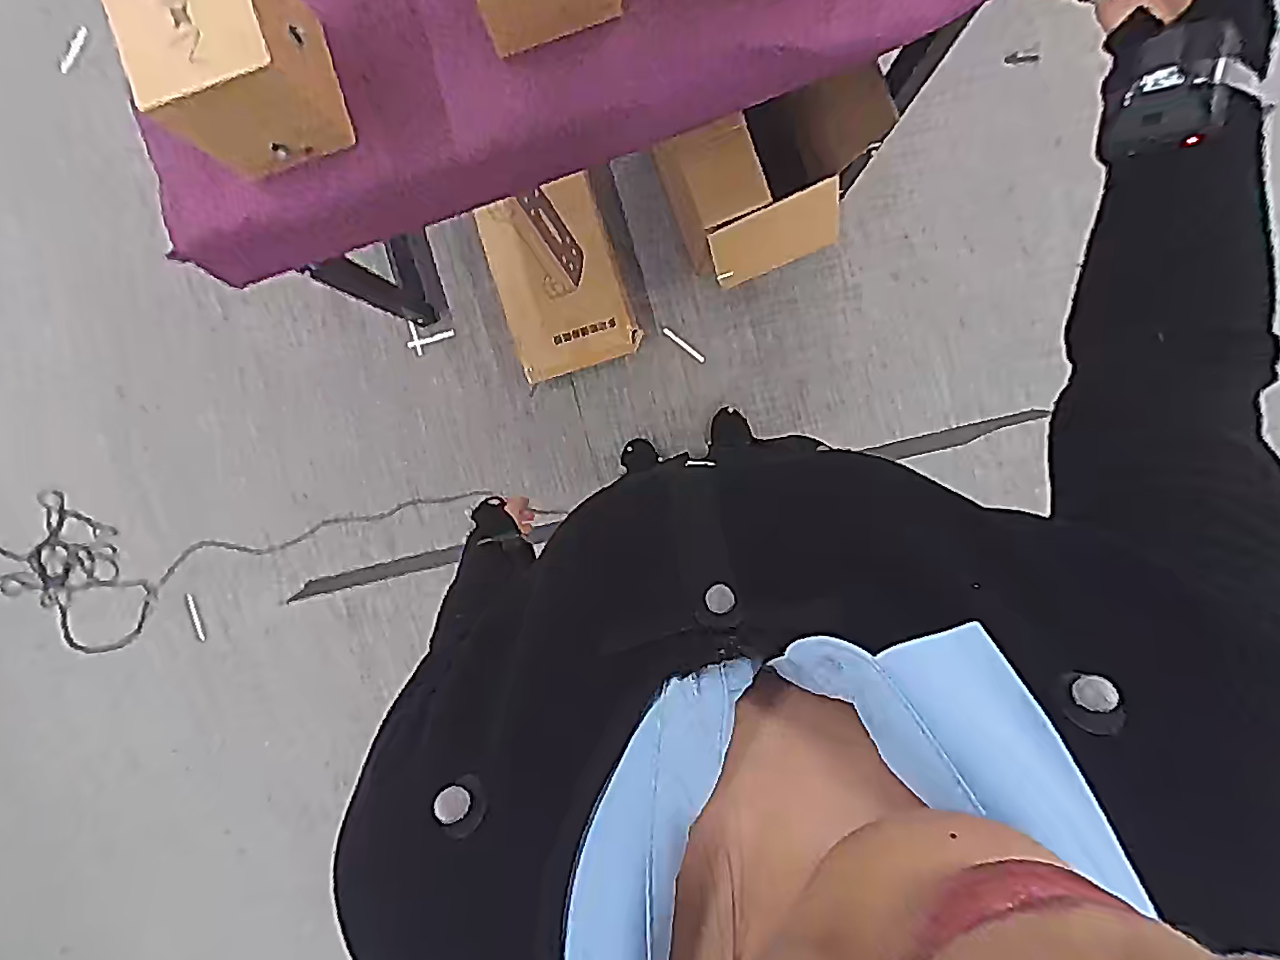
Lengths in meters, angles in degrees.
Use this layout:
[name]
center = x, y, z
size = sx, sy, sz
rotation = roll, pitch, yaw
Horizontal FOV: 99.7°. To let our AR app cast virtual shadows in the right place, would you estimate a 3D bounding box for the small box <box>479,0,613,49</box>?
[small box]
center = -0.129, -0.666, 0.634
size = 0.179, 0.176, 0.168
rotation = -17, 91, 4
